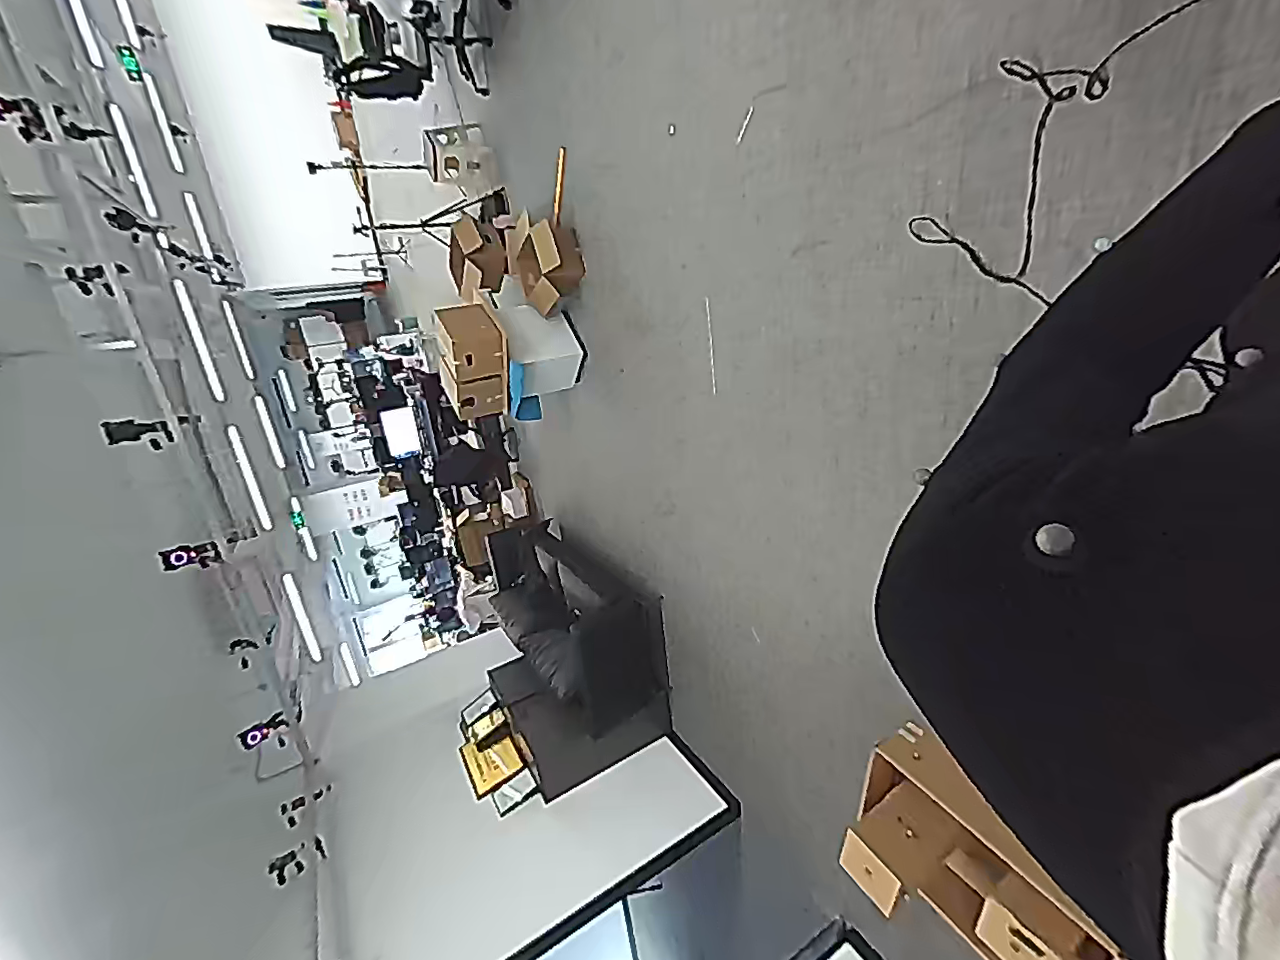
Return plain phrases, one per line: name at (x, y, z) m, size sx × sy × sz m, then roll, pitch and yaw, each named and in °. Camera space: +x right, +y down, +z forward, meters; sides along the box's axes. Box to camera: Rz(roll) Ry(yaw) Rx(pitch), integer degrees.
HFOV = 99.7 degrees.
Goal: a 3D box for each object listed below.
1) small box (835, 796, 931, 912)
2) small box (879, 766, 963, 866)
small box at (0.678, 1.037, 1.509) m, size 0.168 × 0.176 × 0.179 m, roll 36°, pitch 135°, yaw 48°
small box at (0.813, 0.993, 1.589) m, size 0.168 × 0.176 × 0.179 m, roll 37°, pitch 135°, yaw 48°
